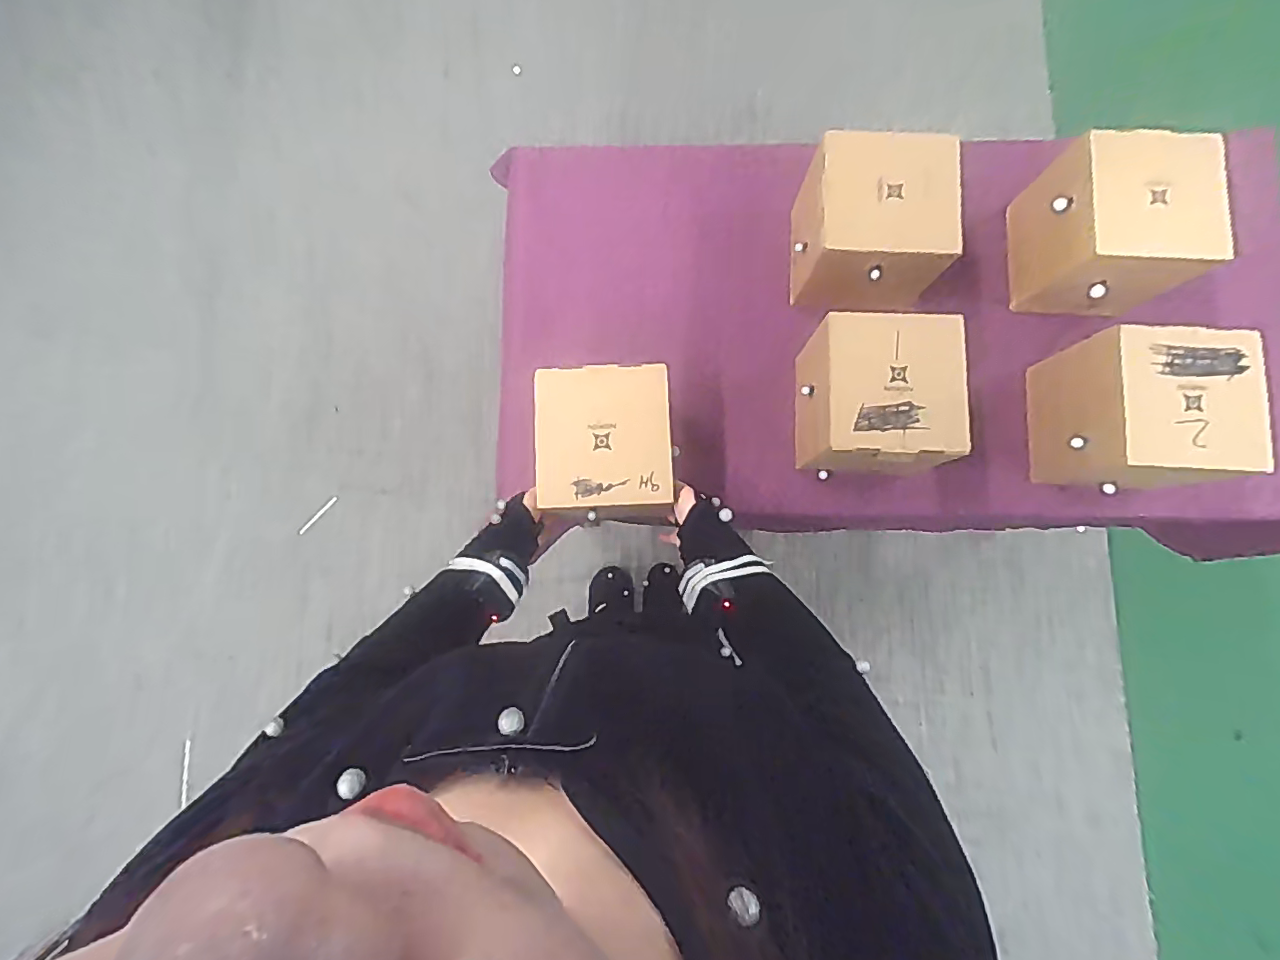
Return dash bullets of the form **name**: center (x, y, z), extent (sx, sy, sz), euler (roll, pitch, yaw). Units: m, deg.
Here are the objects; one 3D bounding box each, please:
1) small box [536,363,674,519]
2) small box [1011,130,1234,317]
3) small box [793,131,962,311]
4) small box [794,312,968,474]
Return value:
- **small box**: center (-0.042, -0.044, 0.731), extent (0.168, 0.176, 0.179), euler (-2, 81, 2)
- **small box**: center (0.649, -0.343, 0.750), extent (0.168, 0.176, 0.179), euler (4, 81, 3)
- **small box**: center (0.322, -0.353, 0.764), extent (0.179, 0.176, 0.168), euler (4, 83, 2)
- **small box**: center (0.311, -0.106, 0.728), extent (0.168, 0.176, 0.179), euler (2, 81, 2)
